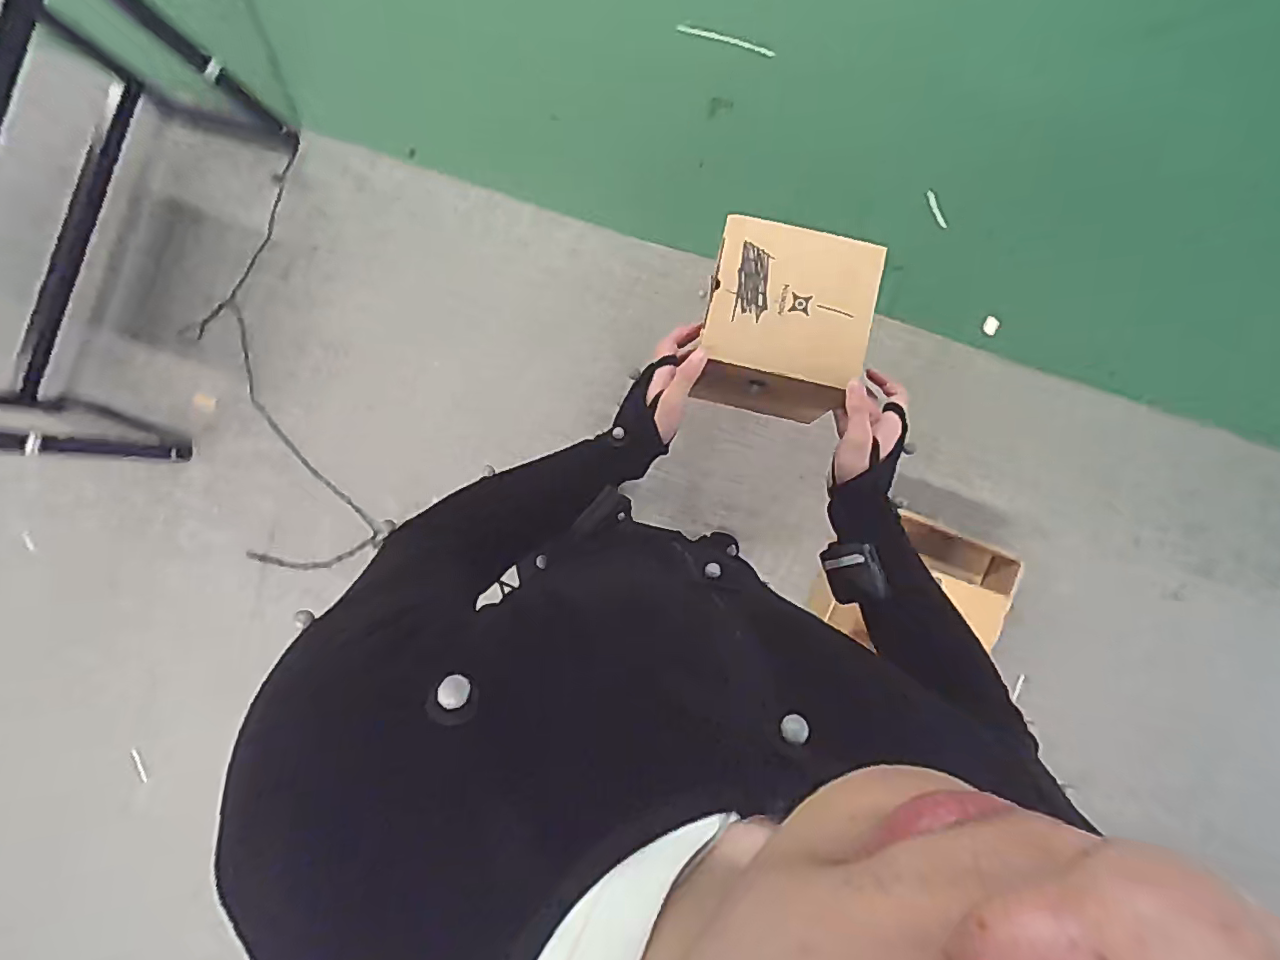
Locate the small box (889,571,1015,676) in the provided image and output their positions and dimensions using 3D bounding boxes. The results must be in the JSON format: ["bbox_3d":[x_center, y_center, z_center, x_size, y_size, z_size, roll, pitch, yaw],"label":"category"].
[{"bbox_3d":[0.706,0.319,1.249,0.179,0.176,0.168,20,92,7],"label":"small box"}]

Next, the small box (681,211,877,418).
[{"bbox_3d":[0.151,-0.183,0.648,0.179,0.176,0.168,13,84,1],"label":"small box"}]
